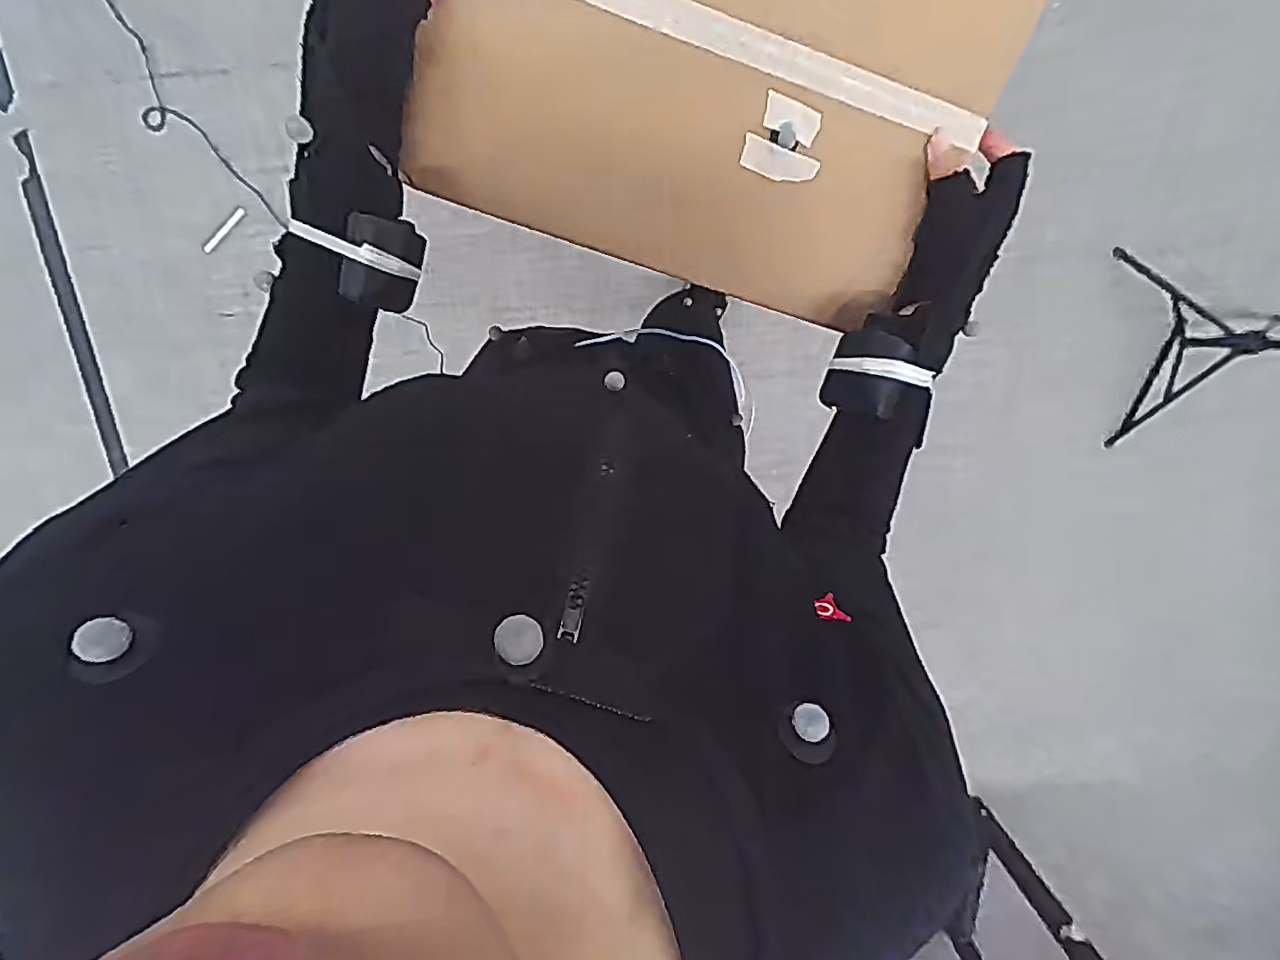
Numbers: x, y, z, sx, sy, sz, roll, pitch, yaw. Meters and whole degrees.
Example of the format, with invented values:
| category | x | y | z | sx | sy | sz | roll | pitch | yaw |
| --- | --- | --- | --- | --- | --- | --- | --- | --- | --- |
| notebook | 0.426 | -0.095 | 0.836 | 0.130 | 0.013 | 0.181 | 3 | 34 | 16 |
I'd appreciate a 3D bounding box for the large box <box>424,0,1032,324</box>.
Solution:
| category | x | y | z | sx | sy | sz | roll | pitch | yaw |
| --- | --- | --- | --- | --- | --- | --- | --- | --- | --- |
| large box | 0.057 | -0.384 | 0.518 | 0.408 | 0.320 | 0.320 | 16 | 117 | -9 |
